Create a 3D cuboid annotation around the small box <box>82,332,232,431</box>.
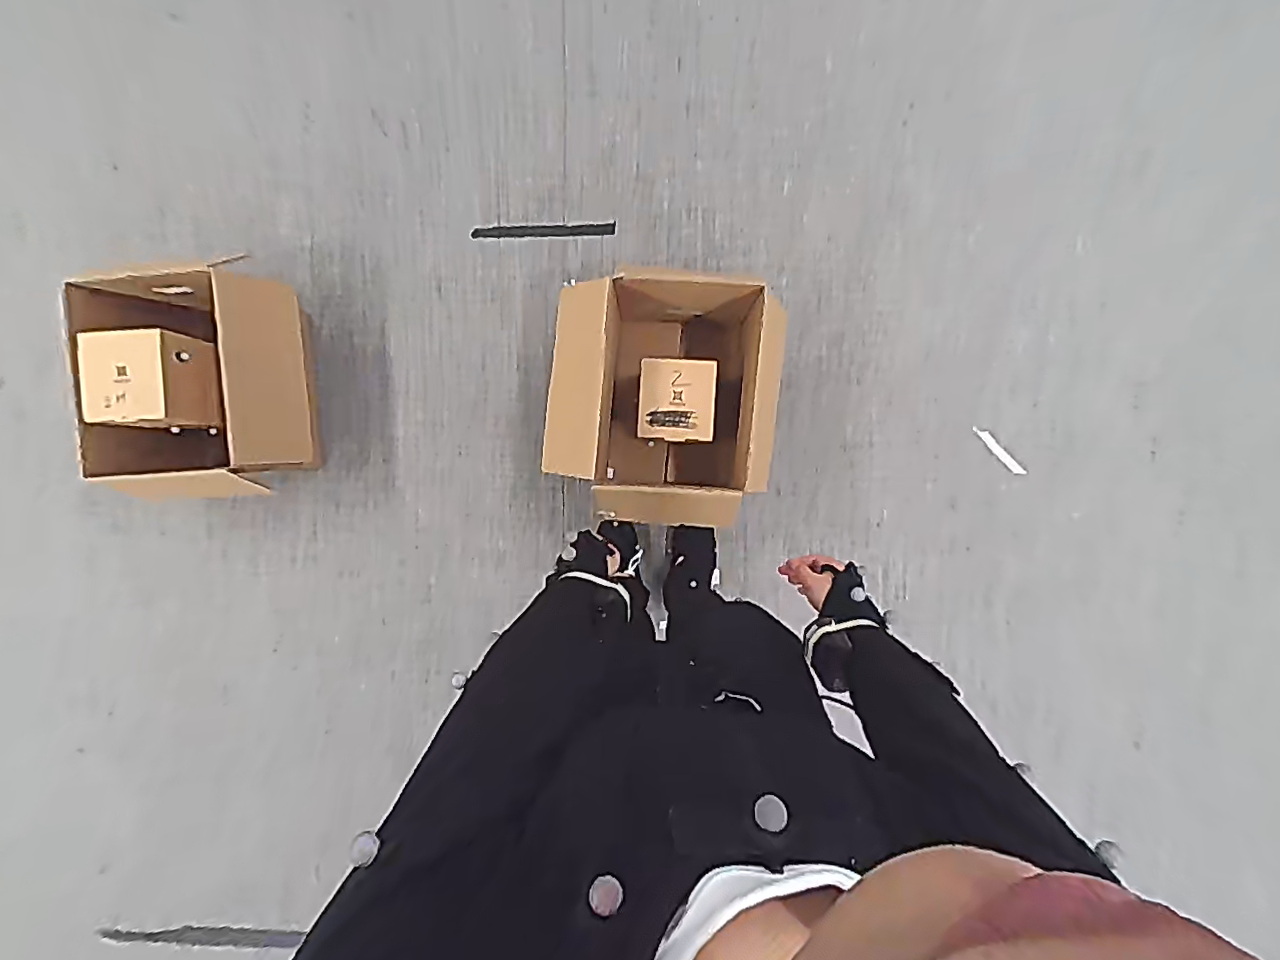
[{"bbox_3d":[-0.991,-0.197,1.124,0.168,0.176,0.179,-2,91,2],"label":"small box"}]
